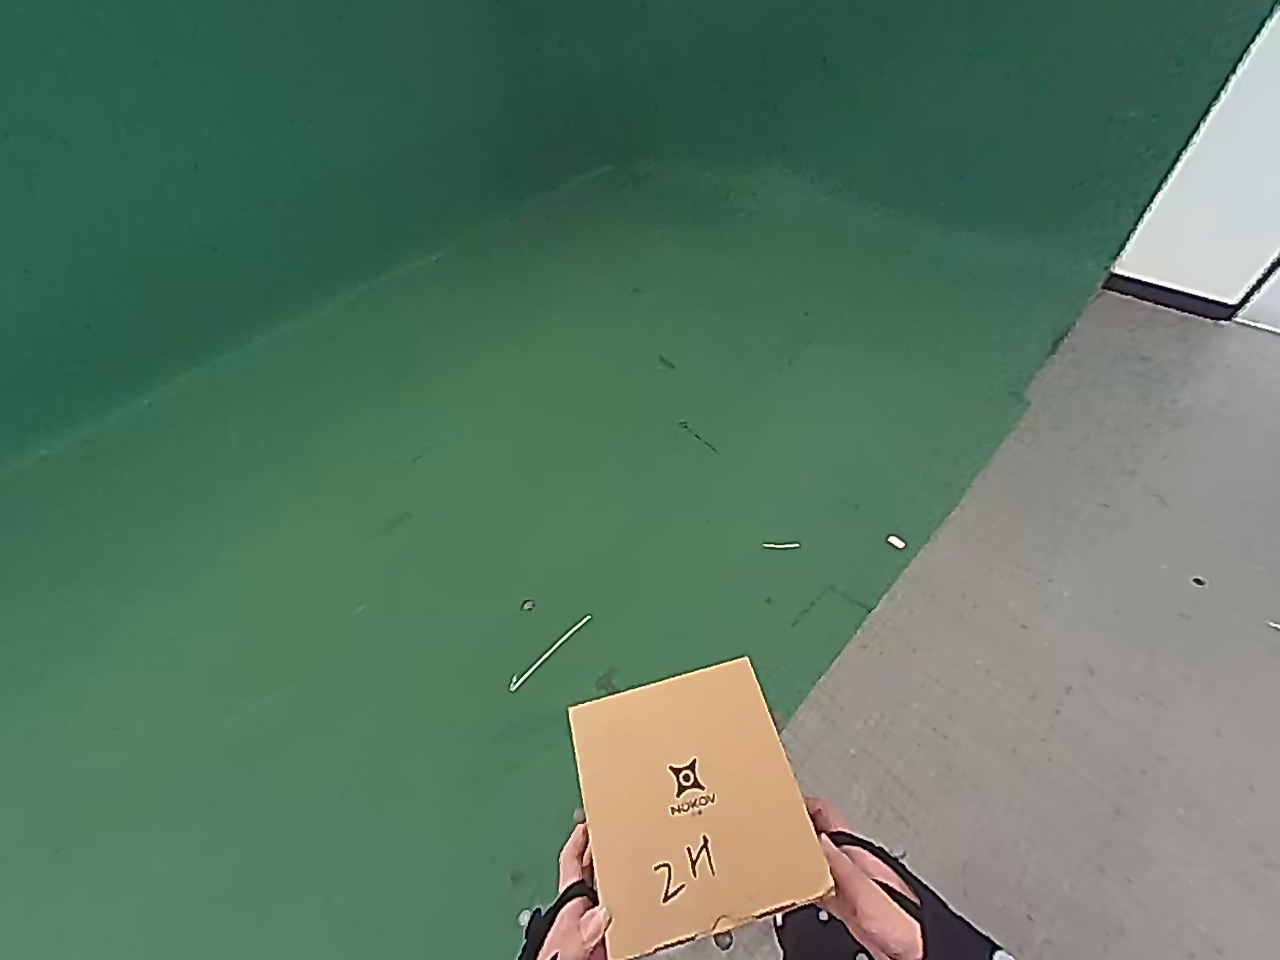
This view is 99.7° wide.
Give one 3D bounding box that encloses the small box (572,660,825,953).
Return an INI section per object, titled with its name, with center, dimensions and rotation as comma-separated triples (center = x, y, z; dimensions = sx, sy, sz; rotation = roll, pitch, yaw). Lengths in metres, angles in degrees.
[small box]
center = 0.042, 0.295, 0.496
dimensions = 0.168, 0.176, 0.179
rotation = -14, 53, -4
